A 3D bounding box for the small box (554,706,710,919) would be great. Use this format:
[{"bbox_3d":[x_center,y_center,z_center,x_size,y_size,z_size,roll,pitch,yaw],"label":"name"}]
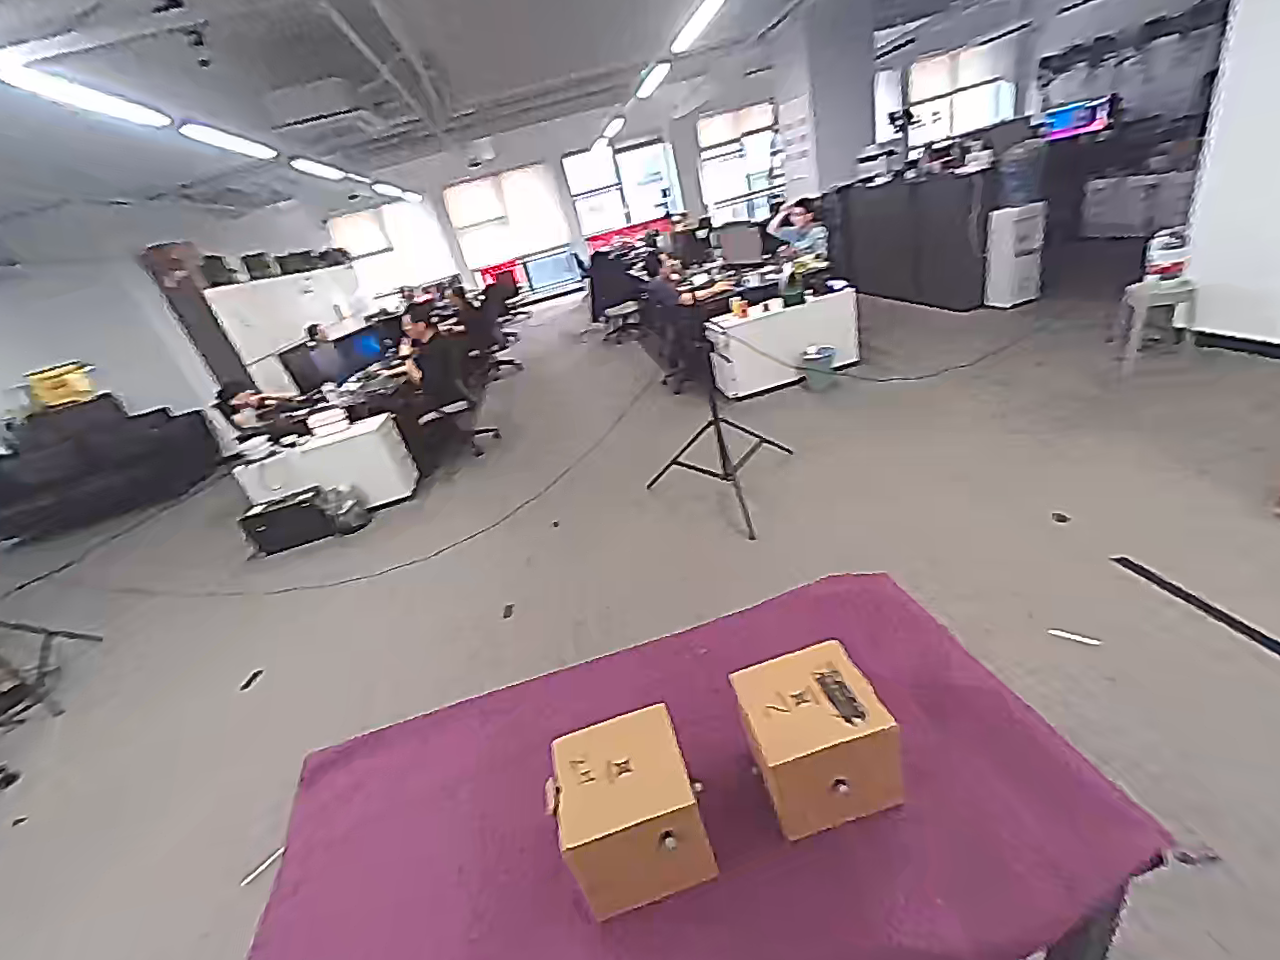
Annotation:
[{"bbox_3d":[-0.009,0.464,0.764,0.179,0.176,0.168,-18,26,-5],"label":"small box"}]
